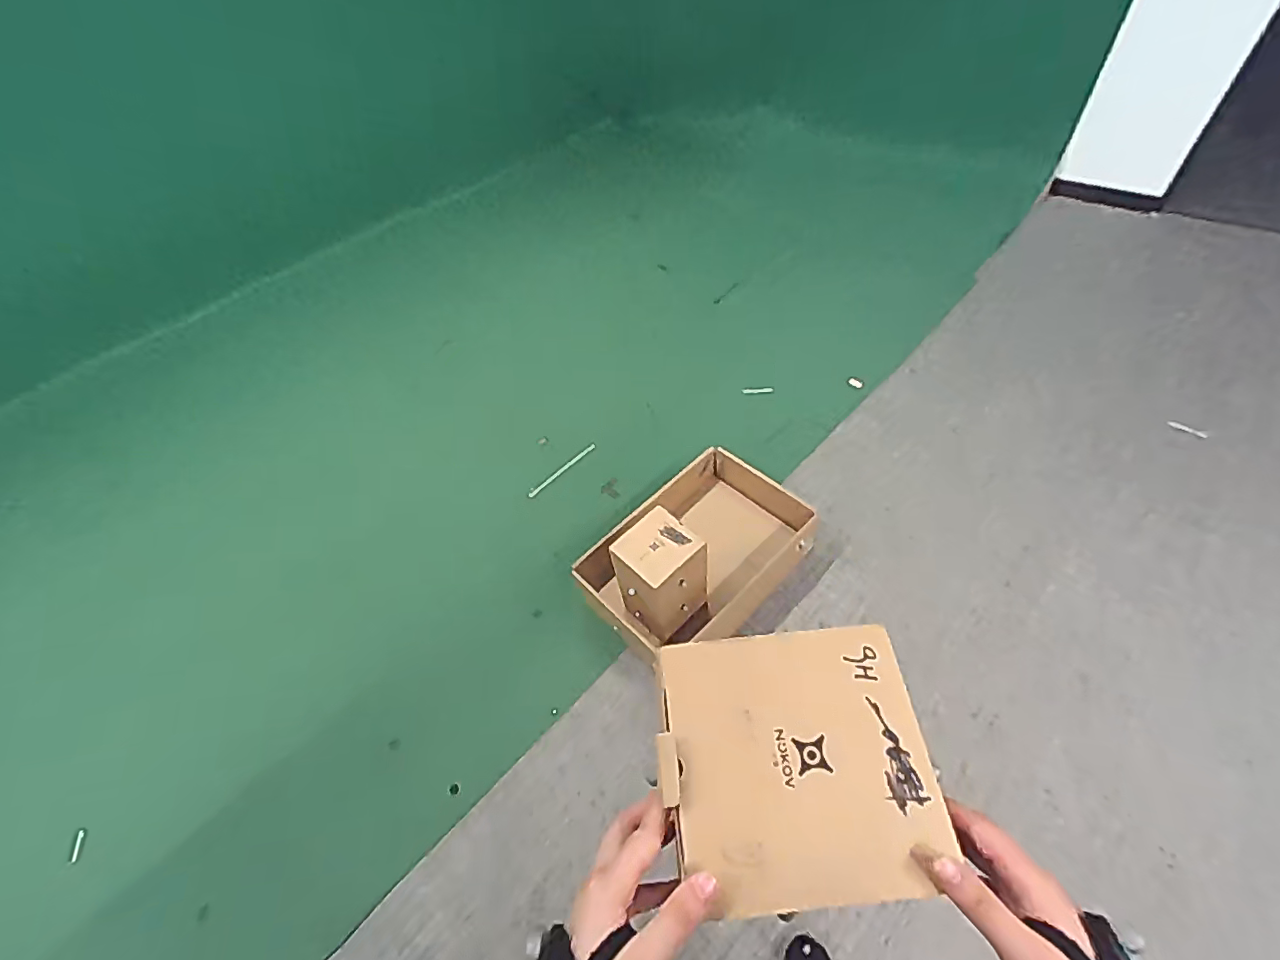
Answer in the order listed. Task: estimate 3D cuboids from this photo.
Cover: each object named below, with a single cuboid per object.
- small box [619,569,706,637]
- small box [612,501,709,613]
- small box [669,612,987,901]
[{"bbox_3d":[0.067,0.294,1.474,0.179,0.176,0.168,-39,58,-23],"label":"small box"},{"bbox_3d":[0.054,0.193,1.345,0.179,0.176,0.168,-39,56,-21],"label":"small box"},{"bbox_3d":[0.117,0.217,0.427,0.179,0.176,0.168,-4,58,-1],"label":"small box"}]
